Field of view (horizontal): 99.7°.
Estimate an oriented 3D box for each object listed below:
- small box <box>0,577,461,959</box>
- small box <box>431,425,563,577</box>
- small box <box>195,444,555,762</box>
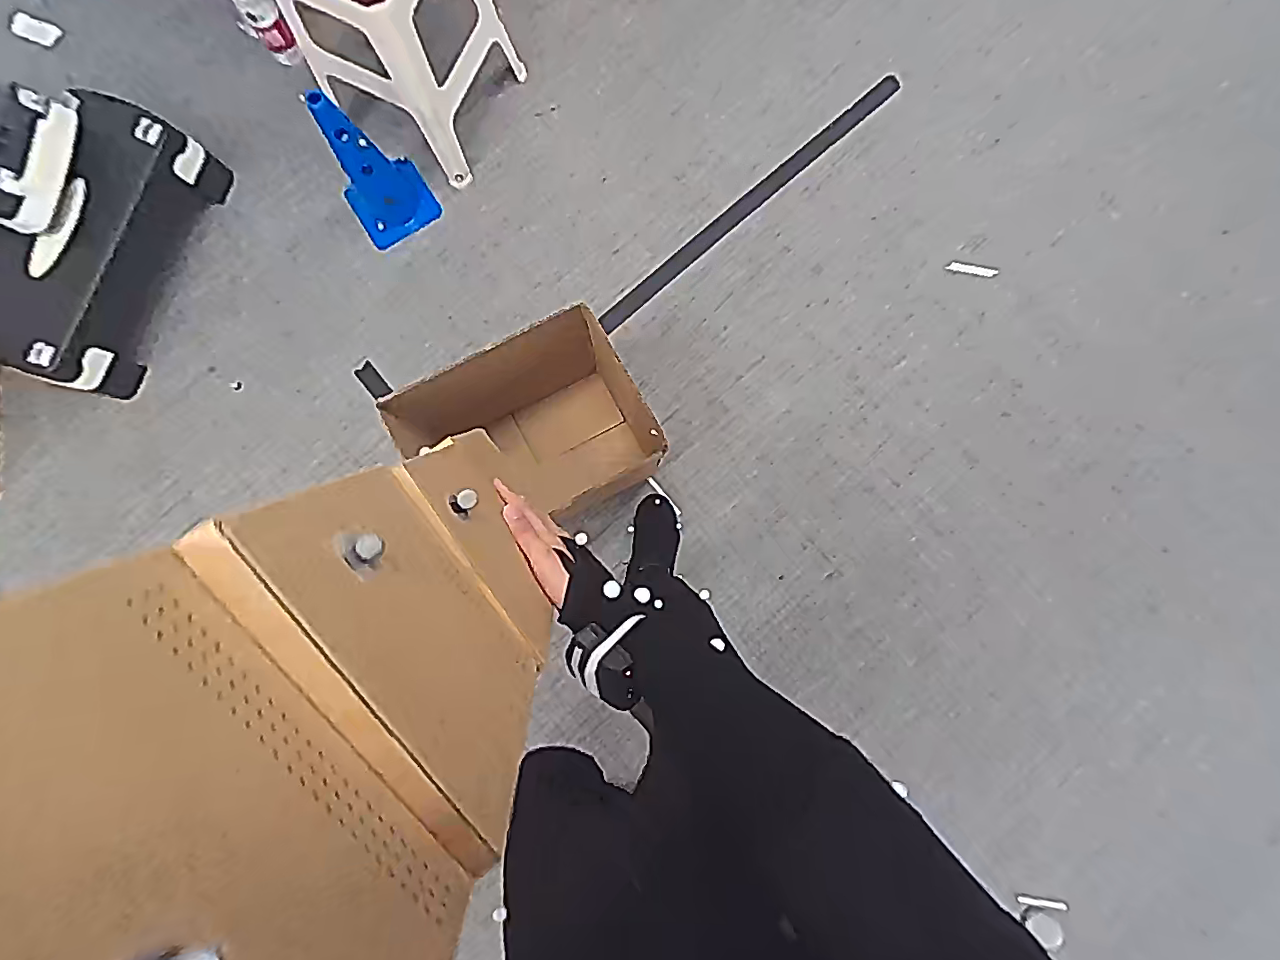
[{"bbox_3d":[-0.170,0.142,0.118,0.168,0.176,0.179,-35,101,0],"label":"small box"},{"bbox_3d":[-0.199,0.053,0.603,0.168,0.176,0.179,-35,100,0],"label":"small box"},{"bbox_3d":[-0.185,0.081,0.442,0.168,0.176,0.179,-31,101,0],"label":"small box"}]
